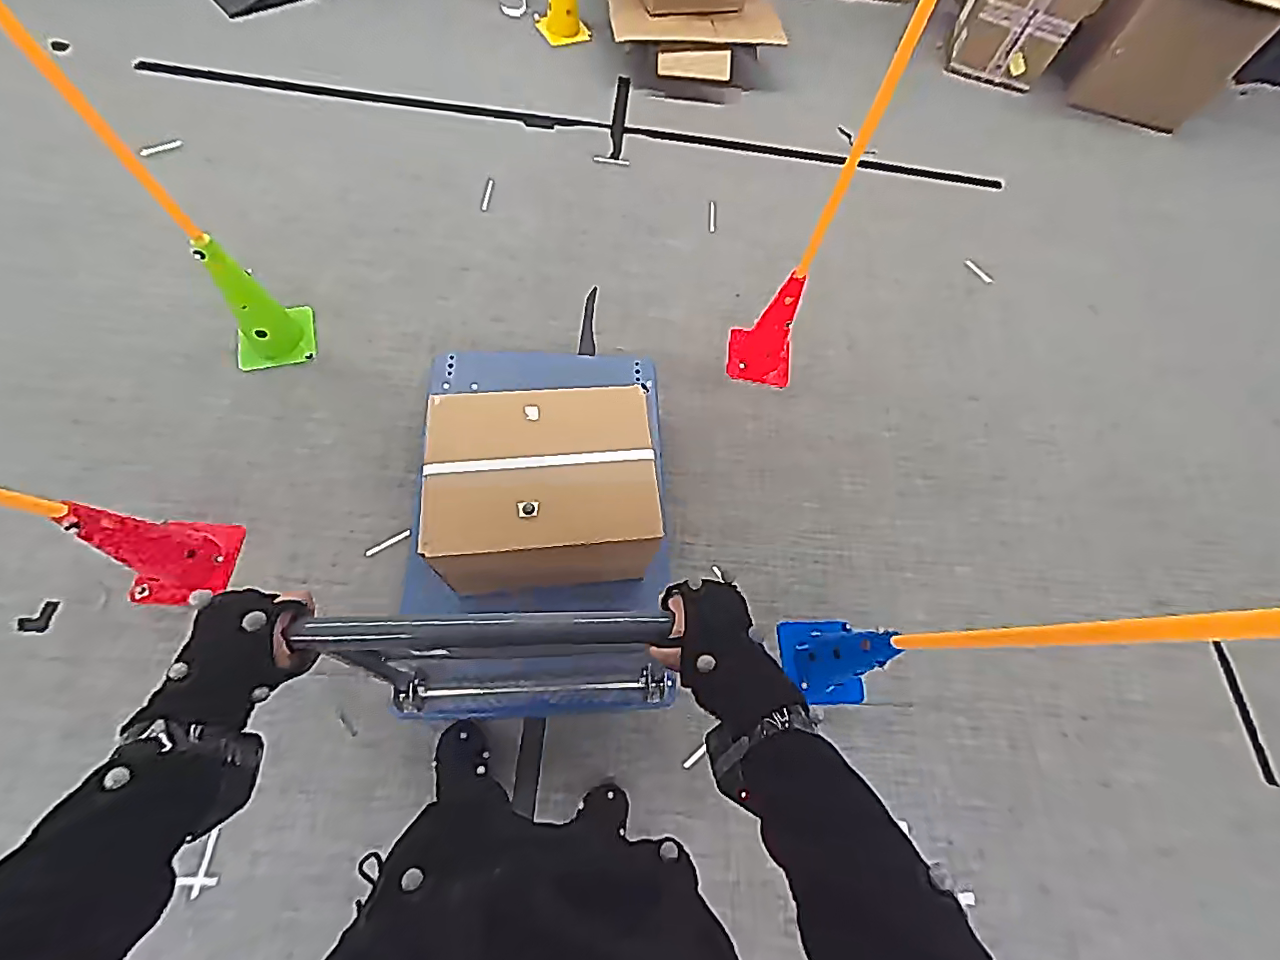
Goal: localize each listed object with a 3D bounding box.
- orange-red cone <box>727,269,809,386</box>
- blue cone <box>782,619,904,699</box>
[{"bbox_3d":[0.401,-0.463,1.556,0.199,0.360,0.198,12,66,-3],"label":"orange-red cone"},{"bbox_3d":[0.475,0.374,1.203,0.193,0.380,0.192,2,65,-6],"label":"blue cone"}]
